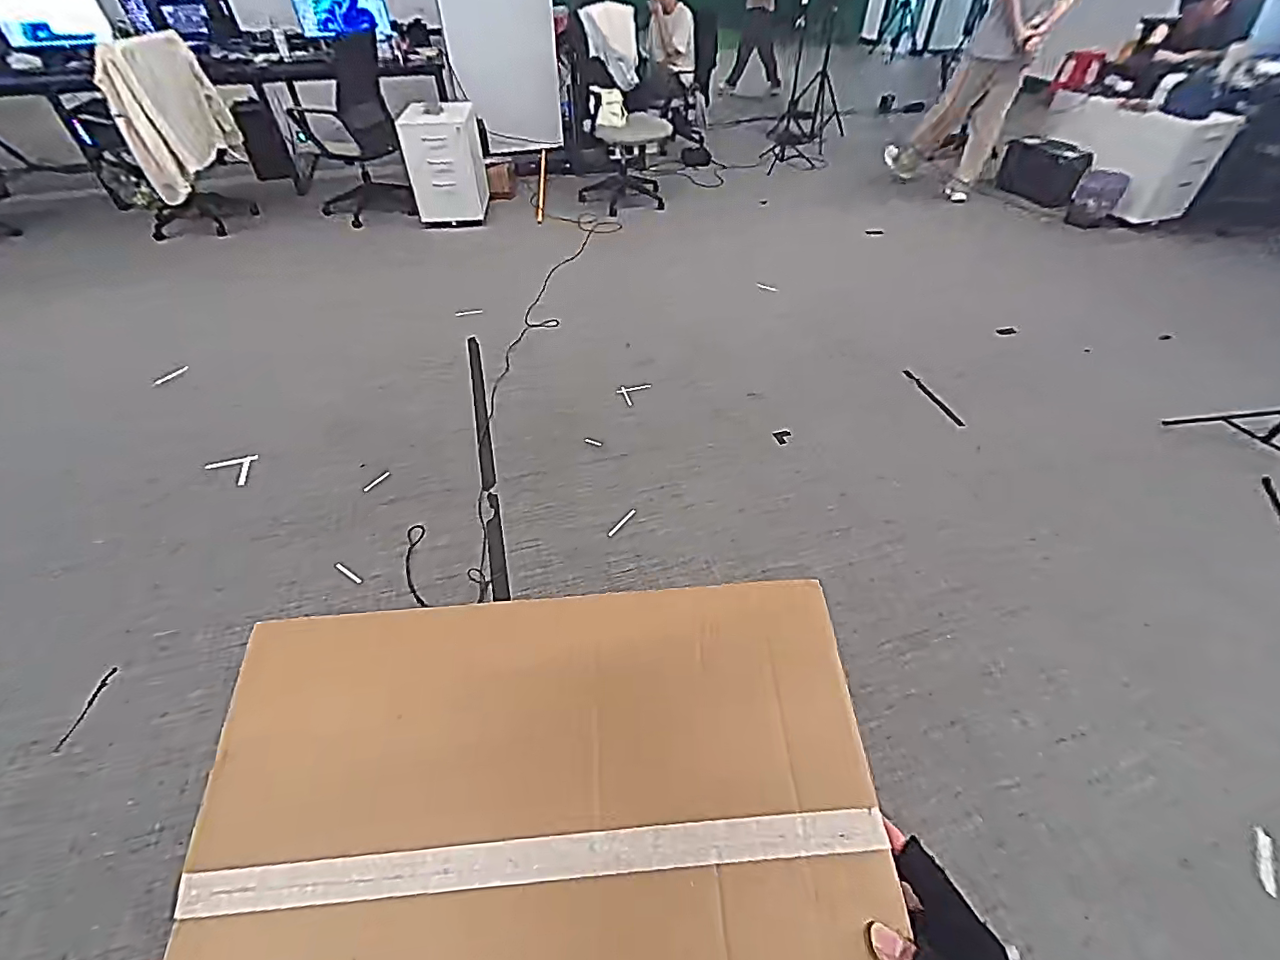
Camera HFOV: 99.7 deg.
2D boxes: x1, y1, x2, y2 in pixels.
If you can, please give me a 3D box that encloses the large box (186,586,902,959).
[{"bbox_3d":[-0.057,0.302,0.451,0.408,0.320,0.320,-4,61,-1],"label":"large box"}]
